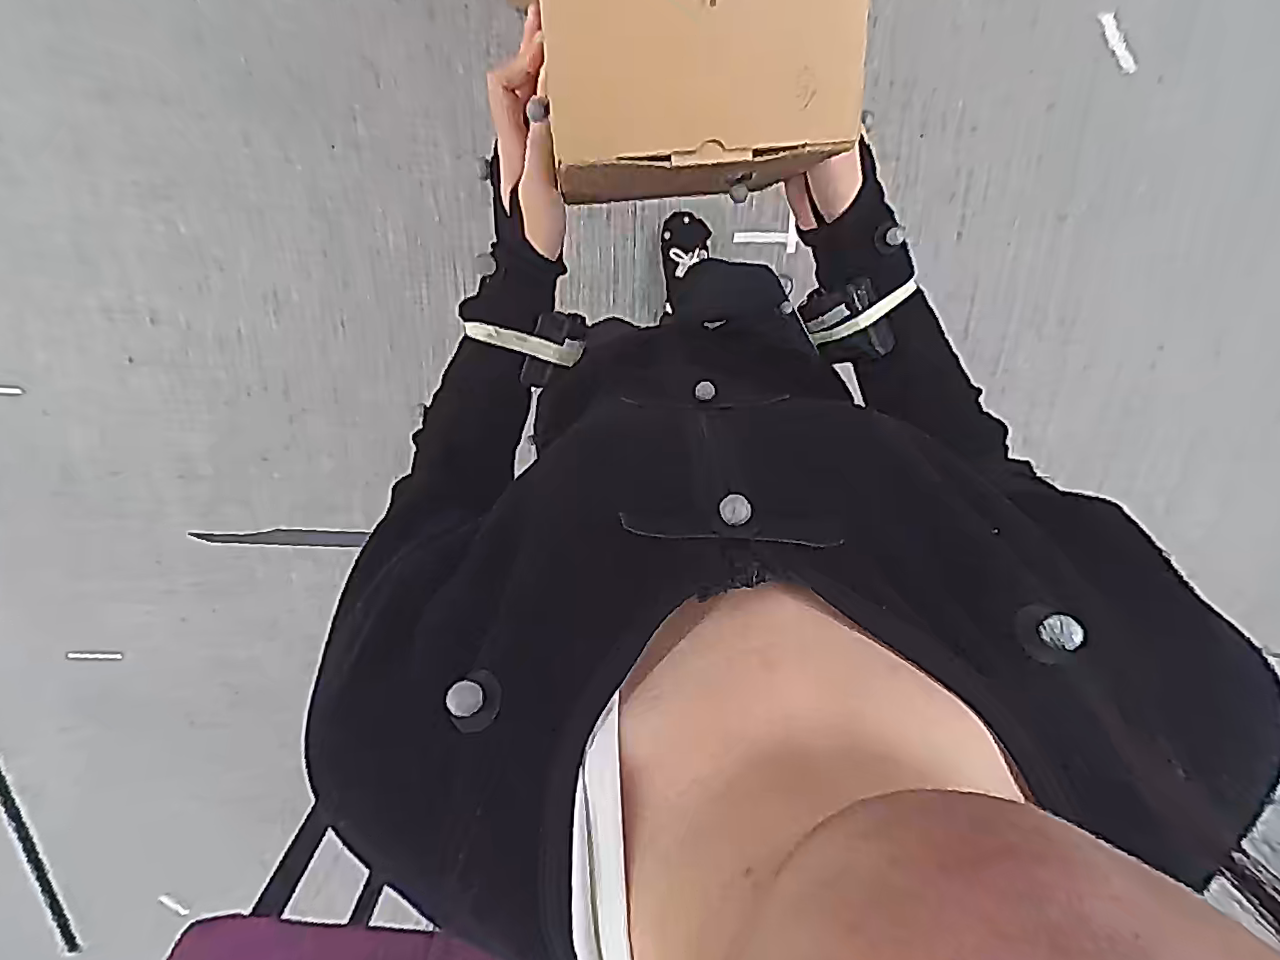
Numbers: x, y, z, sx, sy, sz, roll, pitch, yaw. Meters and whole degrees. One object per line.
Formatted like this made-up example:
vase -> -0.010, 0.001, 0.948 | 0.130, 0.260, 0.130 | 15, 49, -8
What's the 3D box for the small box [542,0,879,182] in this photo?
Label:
small box -> 0.025, -0.288, 0.324 | 0.168, 0.176, 0.179 | -8, 111, -6
